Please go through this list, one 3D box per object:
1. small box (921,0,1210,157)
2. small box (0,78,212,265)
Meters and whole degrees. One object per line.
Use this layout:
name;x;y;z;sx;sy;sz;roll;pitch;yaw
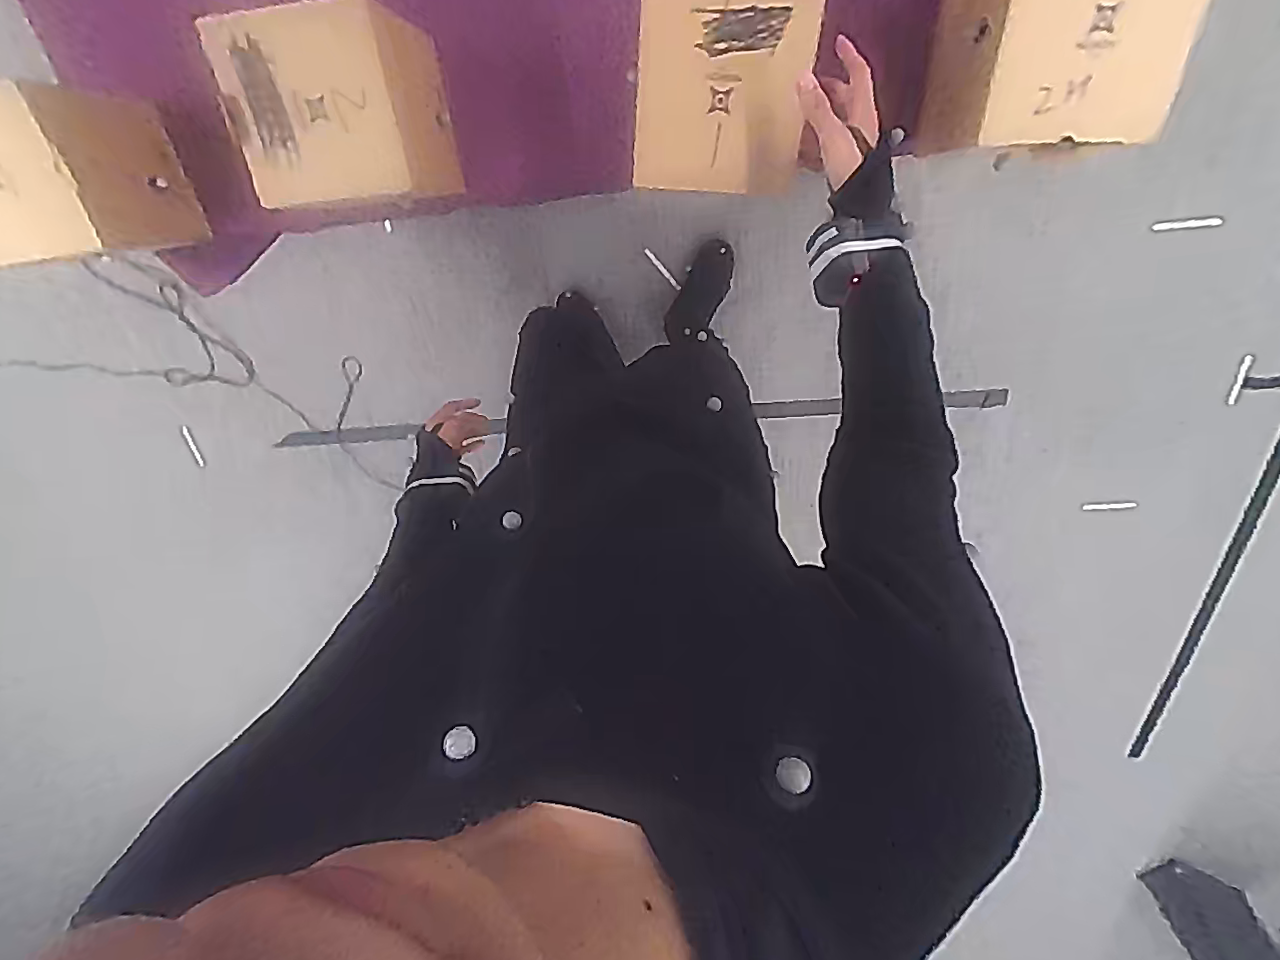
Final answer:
small box;0.411;-0.435;0.547;0.168;0.176;0.179;2;118;5
small box;-0.699;-0.369;0.669;0.179;0.176;0.168;-6;117;6
